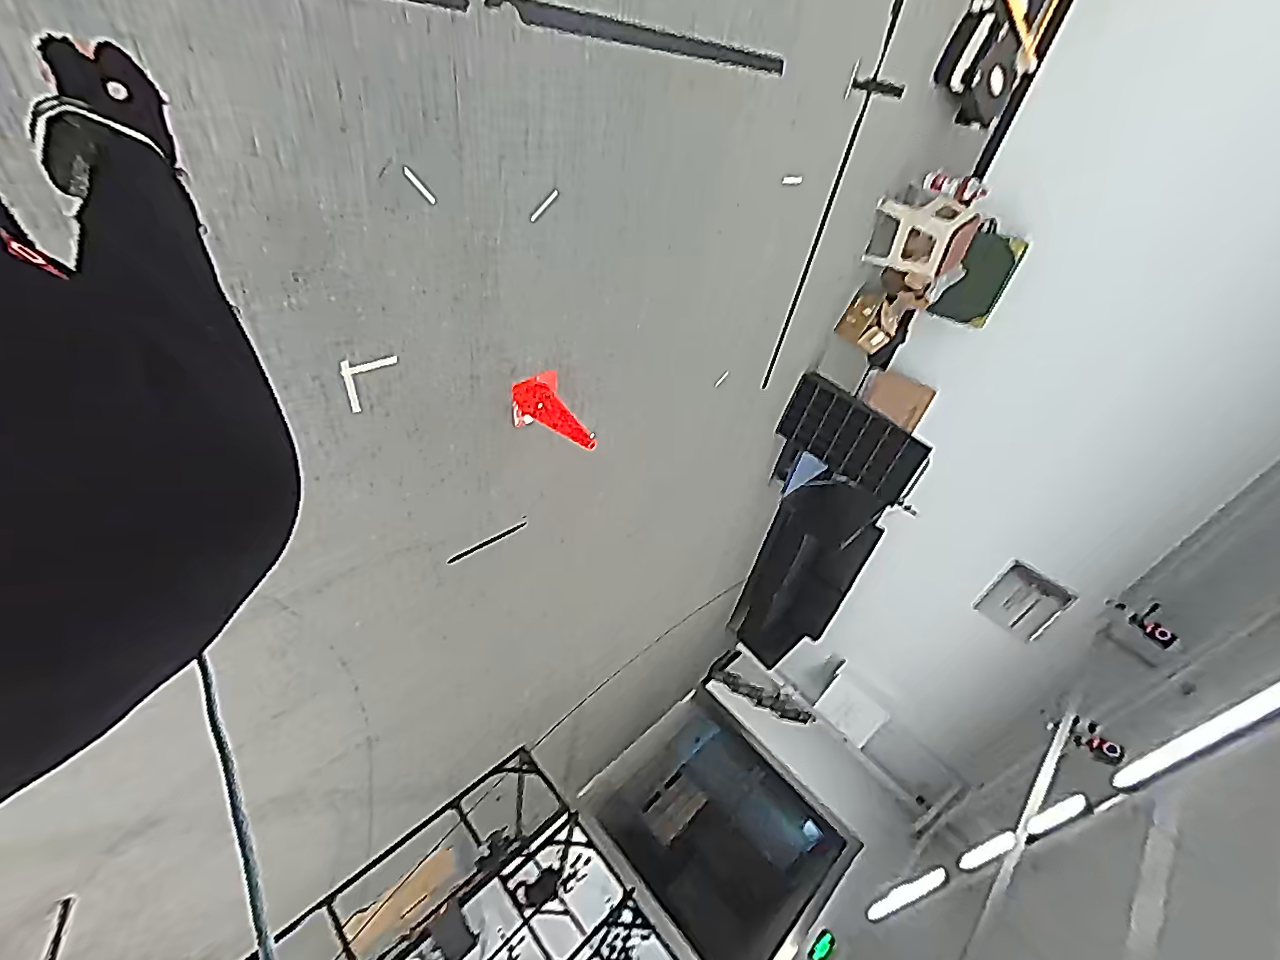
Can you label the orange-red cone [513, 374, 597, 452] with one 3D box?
[{"bbox_3d":[-0.287,-0.213,2.005,0.199,0.360,0.198,-31,146,-34],"label":"orange-red cone"}]
